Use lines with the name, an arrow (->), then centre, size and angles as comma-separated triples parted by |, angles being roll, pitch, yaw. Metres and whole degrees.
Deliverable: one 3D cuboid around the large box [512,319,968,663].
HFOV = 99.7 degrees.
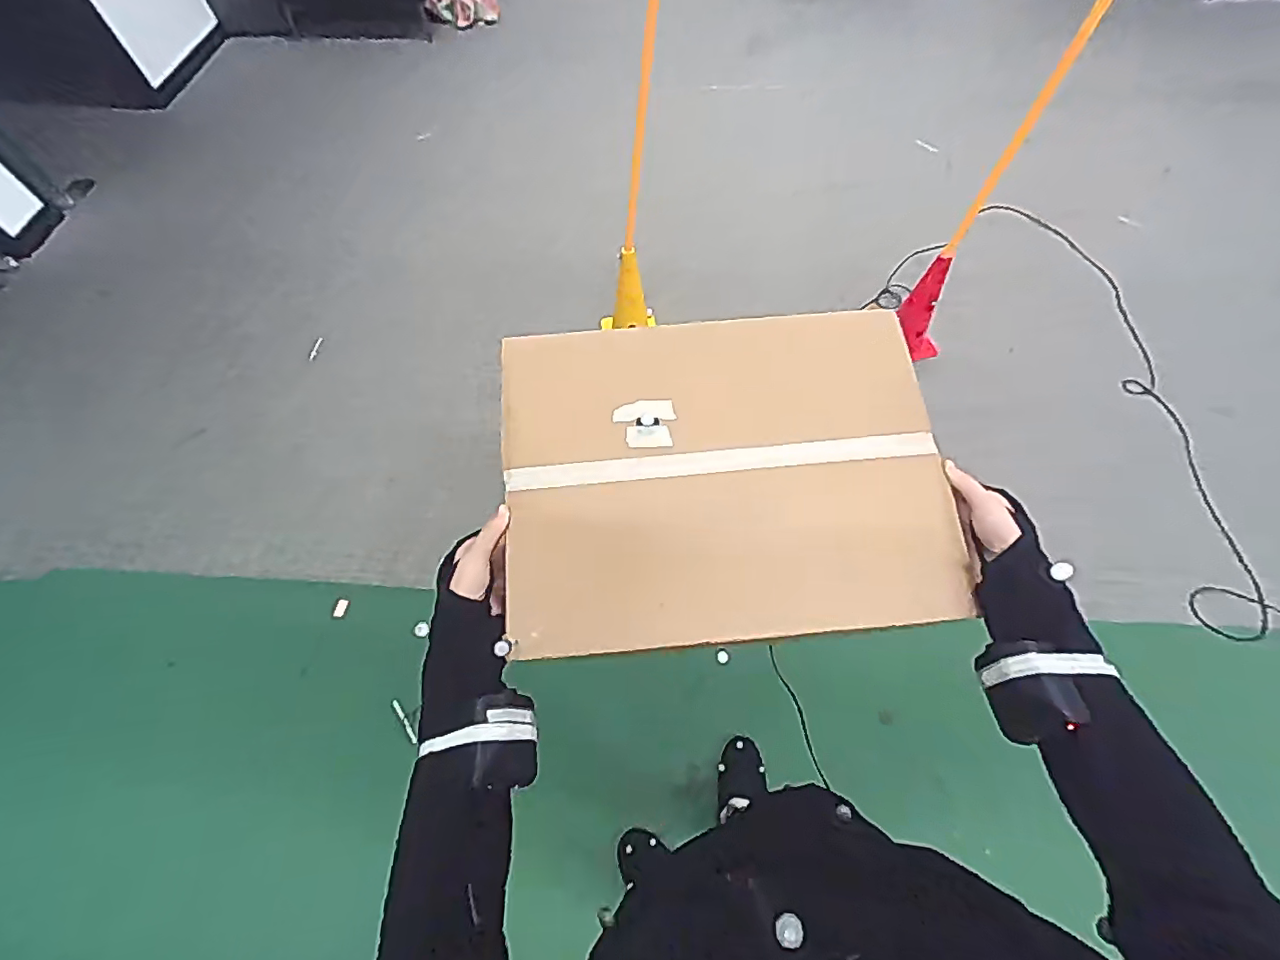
large box -> 0.083, 0.041, 0.658 | 0.408, 0.320, 0.320 | -5, 71, -1
